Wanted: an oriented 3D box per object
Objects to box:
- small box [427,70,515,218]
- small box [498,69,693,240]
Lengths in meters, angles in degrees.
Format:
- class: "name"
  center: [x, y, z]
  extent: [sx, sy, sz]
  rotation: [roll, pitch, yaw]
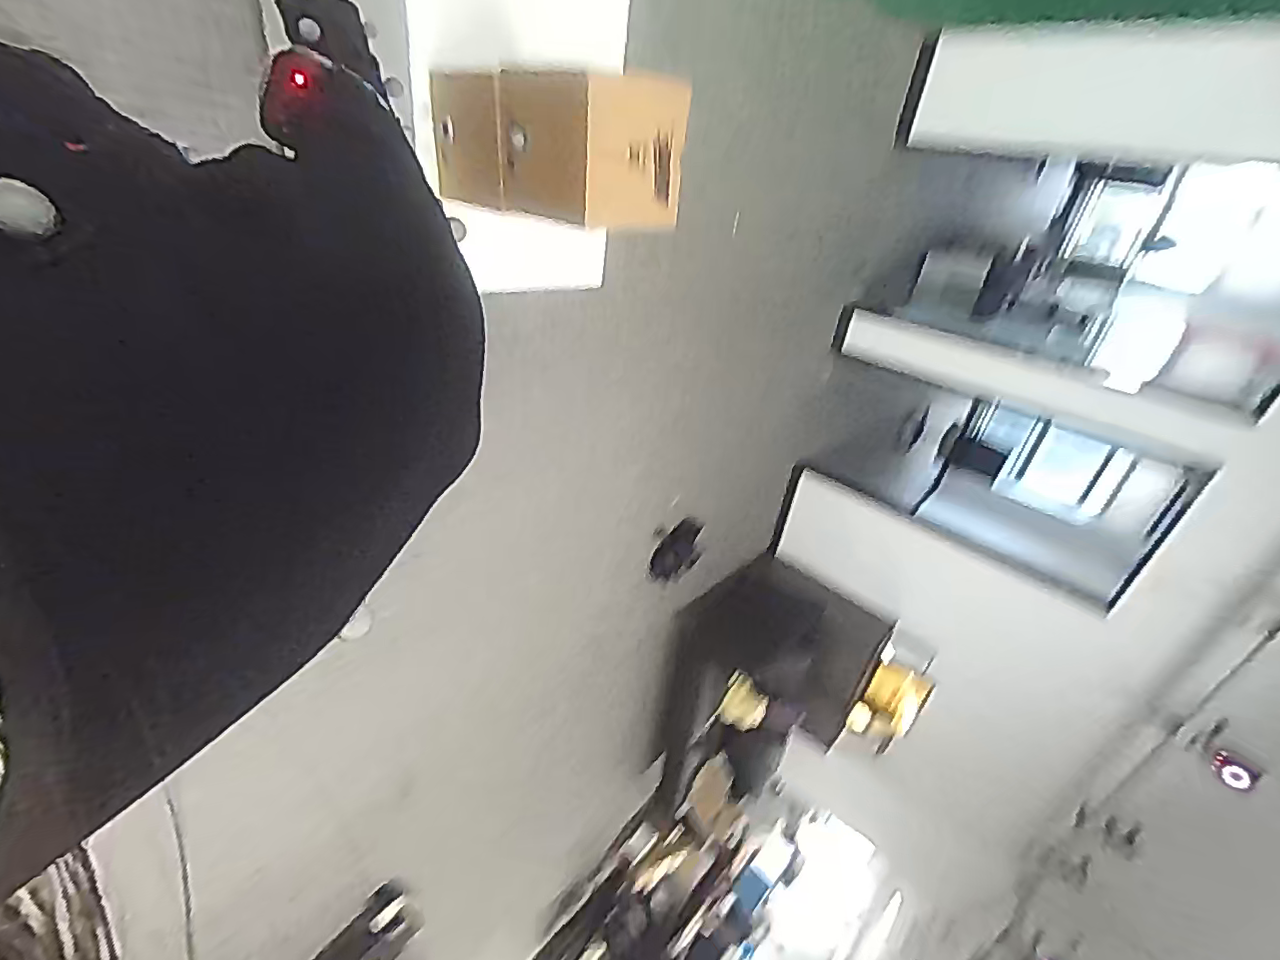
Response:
- class: "small box"
  center: [-0.179, -0.486, 0.786]
  extent: [0.179, 0.176, 0.168]
  rotation: [-26, 134, -38]
- class: "small box"
  center: [-0.057, -0.421, 0.697]
  extent: [0.179, 0.176, 0.168]
  rotation: [-31, 137, -38]
